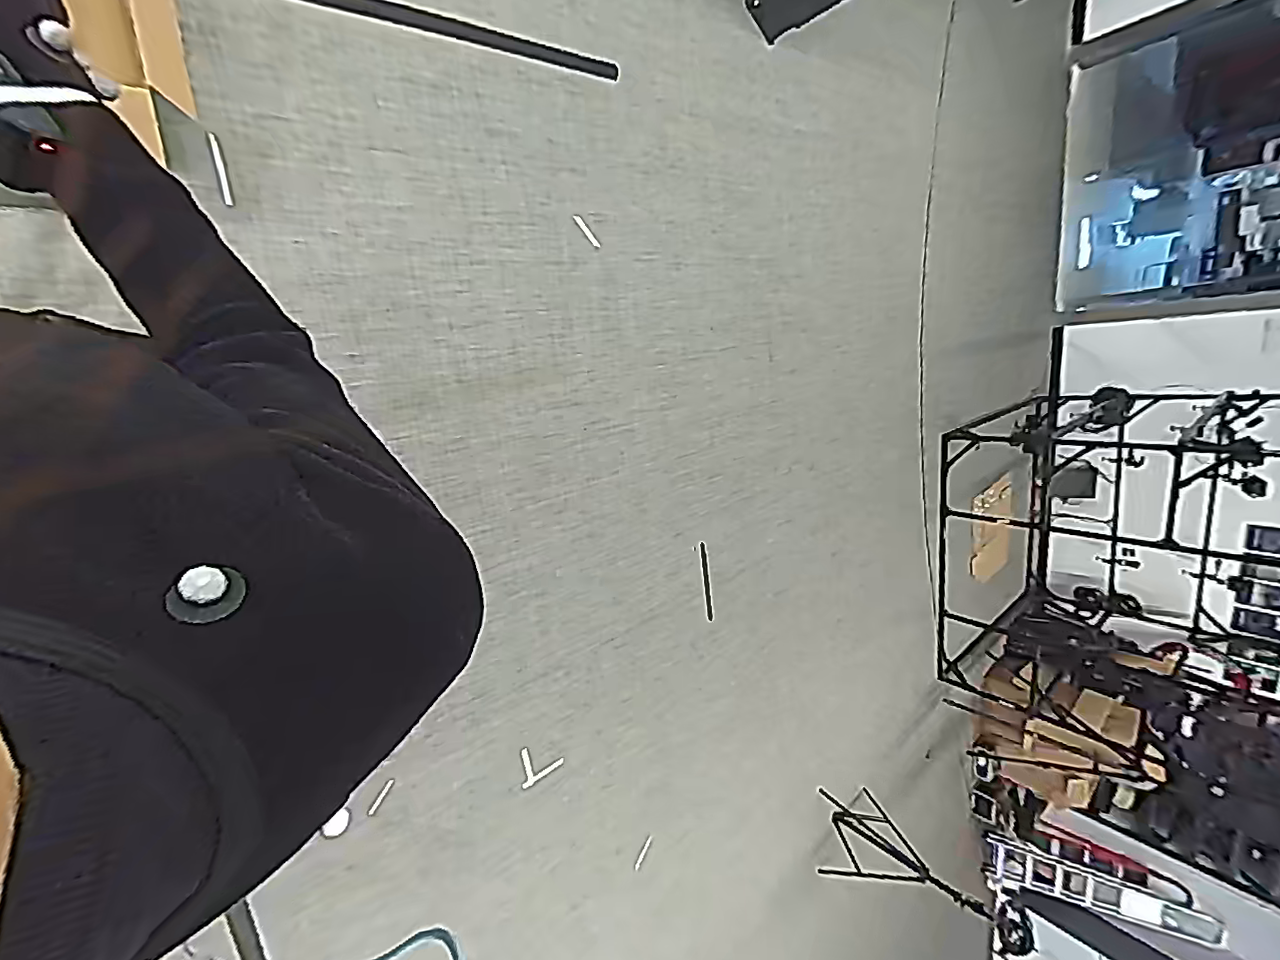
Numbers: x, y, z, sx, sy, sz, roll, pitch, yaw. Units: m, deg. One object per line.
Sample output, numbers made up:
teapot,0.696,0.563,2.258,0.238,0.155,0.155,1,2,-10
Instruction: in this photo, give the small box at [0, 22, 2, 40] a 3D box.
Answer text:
small box,-0.585,-0.430,0.363,0.168,0.176,0.179,-20,120,-41
